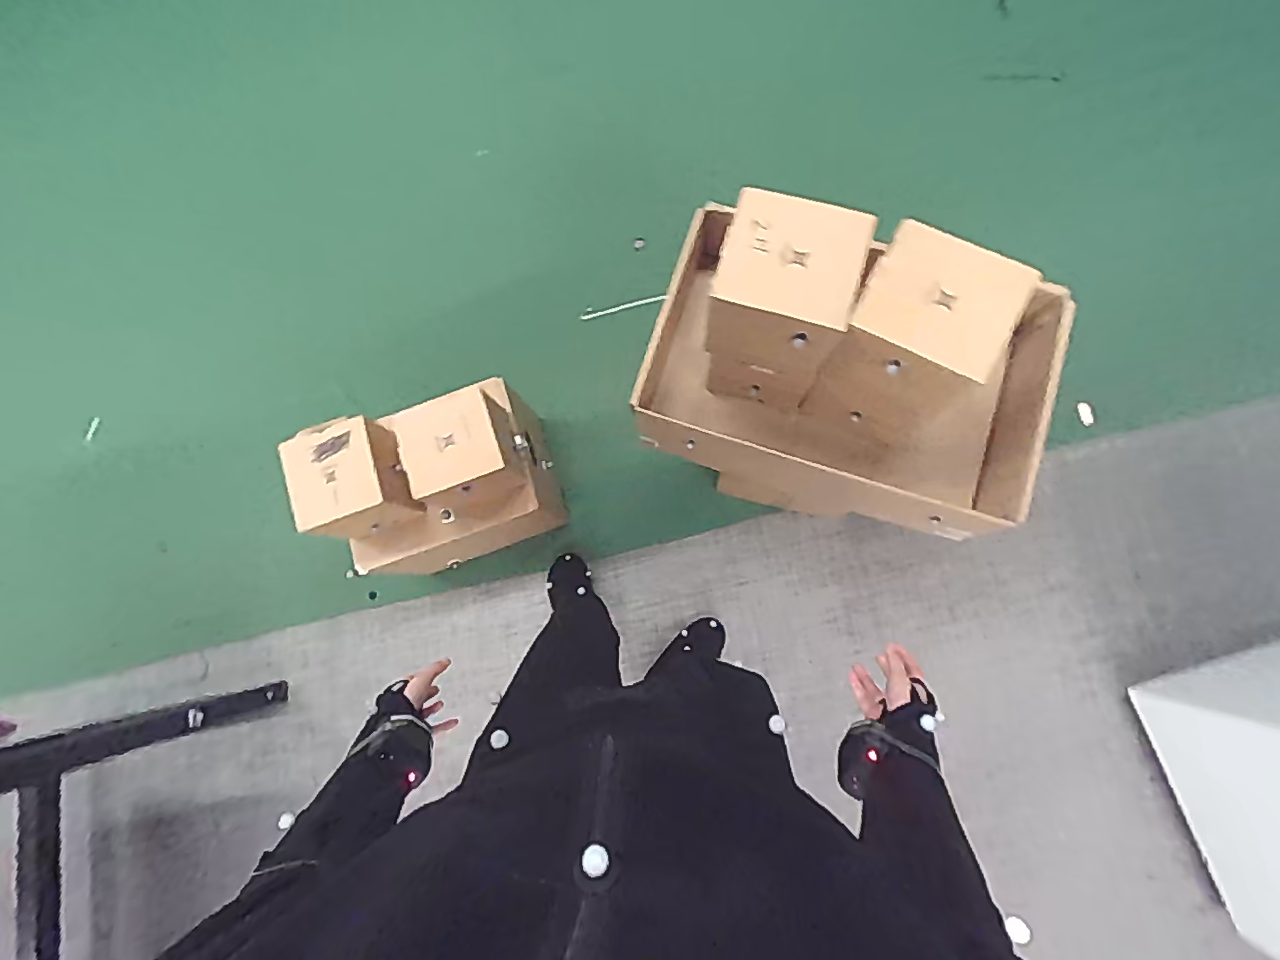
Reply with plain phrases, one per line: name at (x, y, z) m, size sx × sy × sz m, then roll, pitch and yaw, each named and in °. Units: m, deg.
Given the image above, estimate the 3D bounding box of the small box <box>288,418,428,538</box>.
small box at (-0.545, 0.004, 1.063) m, size 0.168 × 0.176 × 0.179 m, roll -19°, pitch 78°, yaw 1°

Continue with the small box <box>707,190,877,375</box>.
small box at (0.202, -0.266, 0.767) m, size 0.179 × 0.176 × 0.168 m, roll 17°, pitch 80°, yaw 8°

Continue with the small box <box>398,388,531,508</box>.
small box at (-0.334, -0.052, 1.055) m, size 0.179 × 0.176 × 0.168 m, roll -19°, pitch 79°, yaw 1°
